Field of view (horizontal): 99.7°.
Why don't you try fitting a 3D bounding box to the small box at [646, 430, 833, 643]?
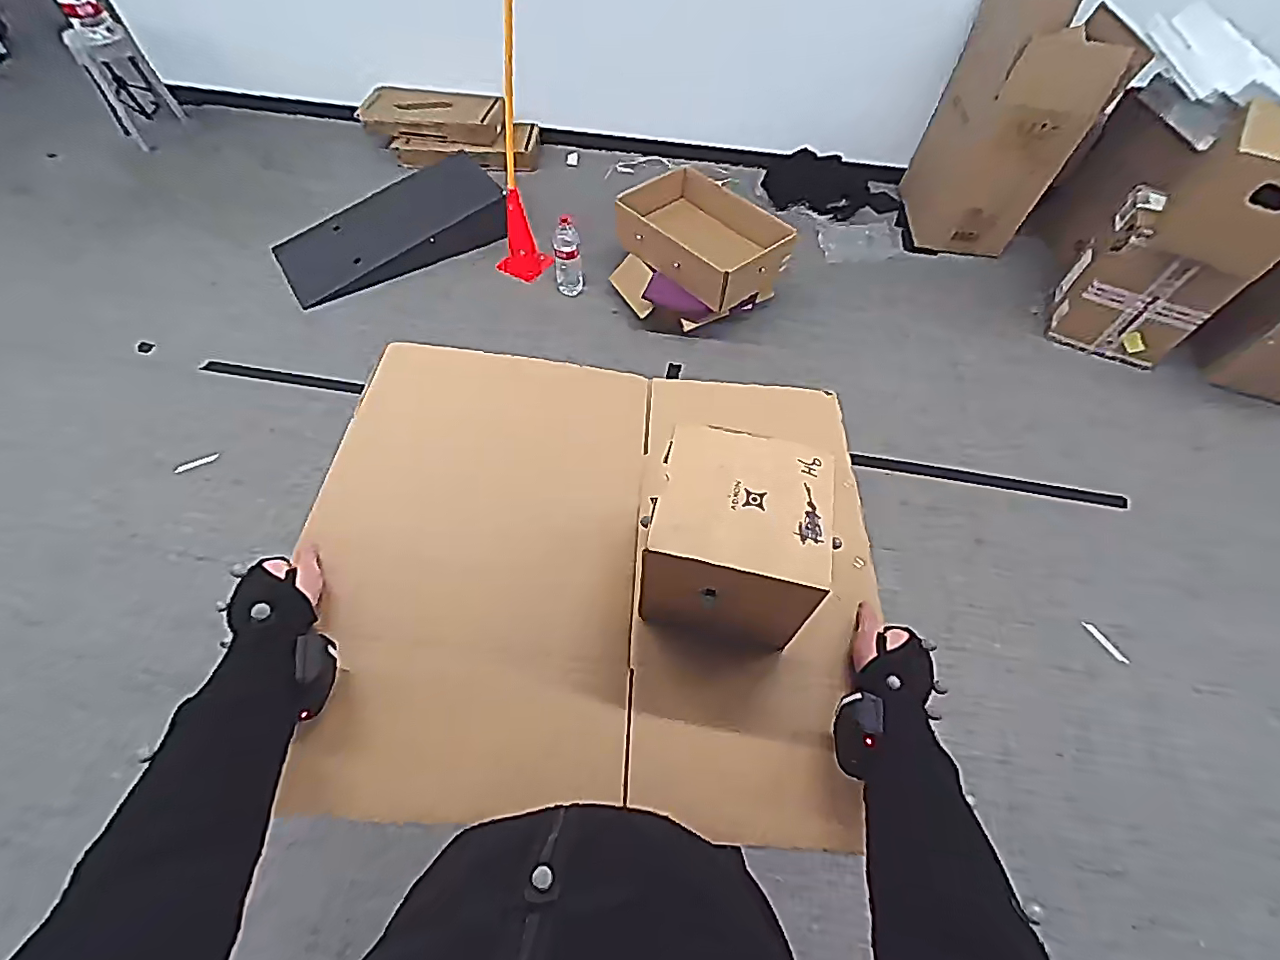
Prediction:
[{"bbox_3d":[0.106,0.069,0.615,0.179,0.176,0.168,11,56,6],"label":"small box"}]
